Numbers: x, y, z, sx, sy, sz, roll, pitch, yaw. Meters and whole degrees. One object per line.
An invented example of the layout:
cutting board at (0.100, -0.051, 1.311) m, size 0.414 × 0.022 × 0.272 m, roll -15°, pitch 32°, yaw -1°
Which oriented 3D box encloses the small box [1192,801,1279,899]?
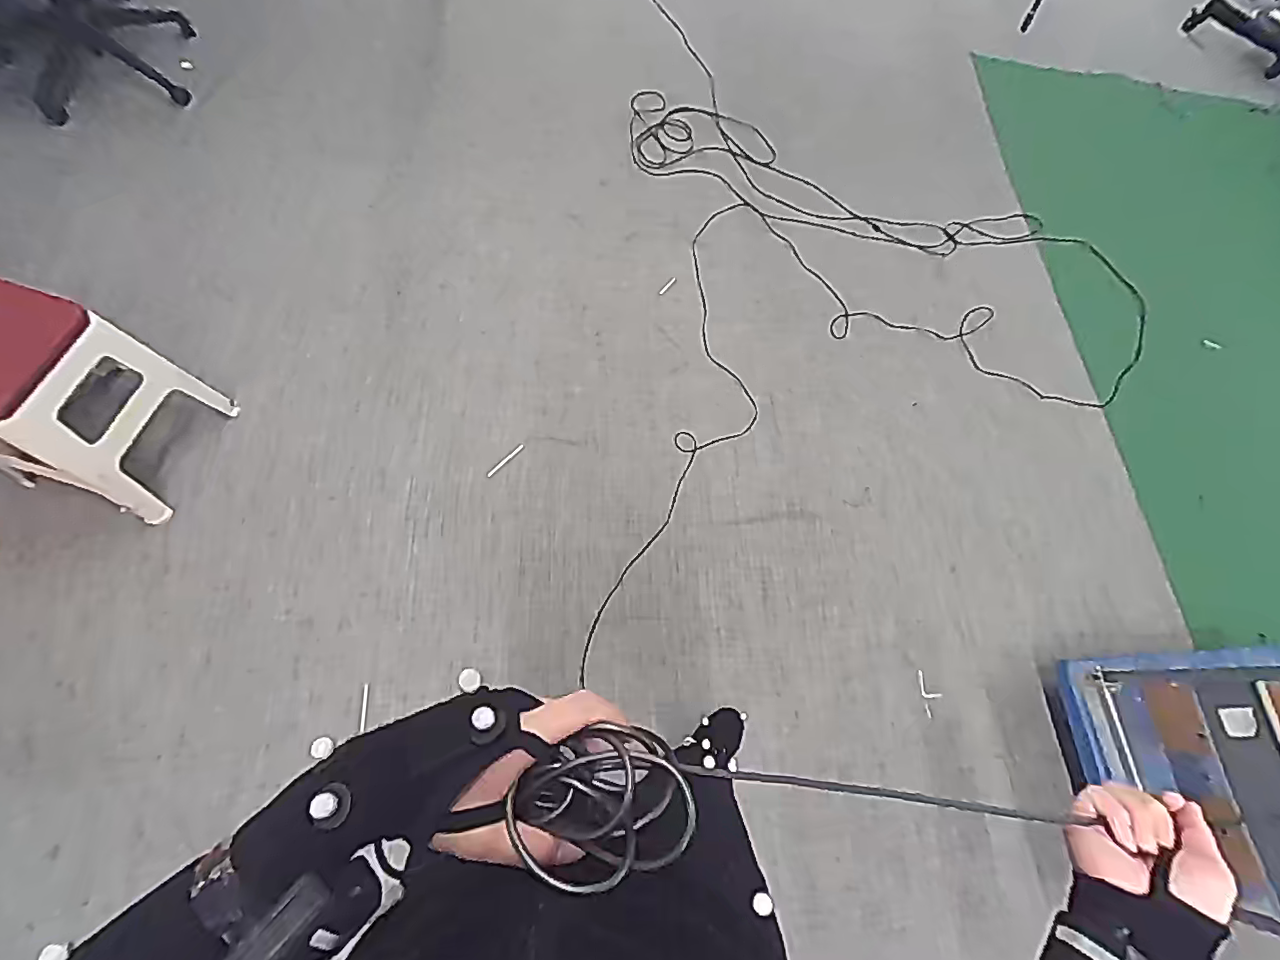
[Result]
small box at (1.493, 0.871, 1.280) m, size 0.179 × 0.176 × 0.168 m, roll 1°, pitch 68°, yaw -7°

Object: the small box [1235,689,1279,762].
small box at (1.729, 0.639, 1.409) m, size 0.179 × 0.176 × 0.168 m, roll -3°, pitch 69°, yaw -10°
